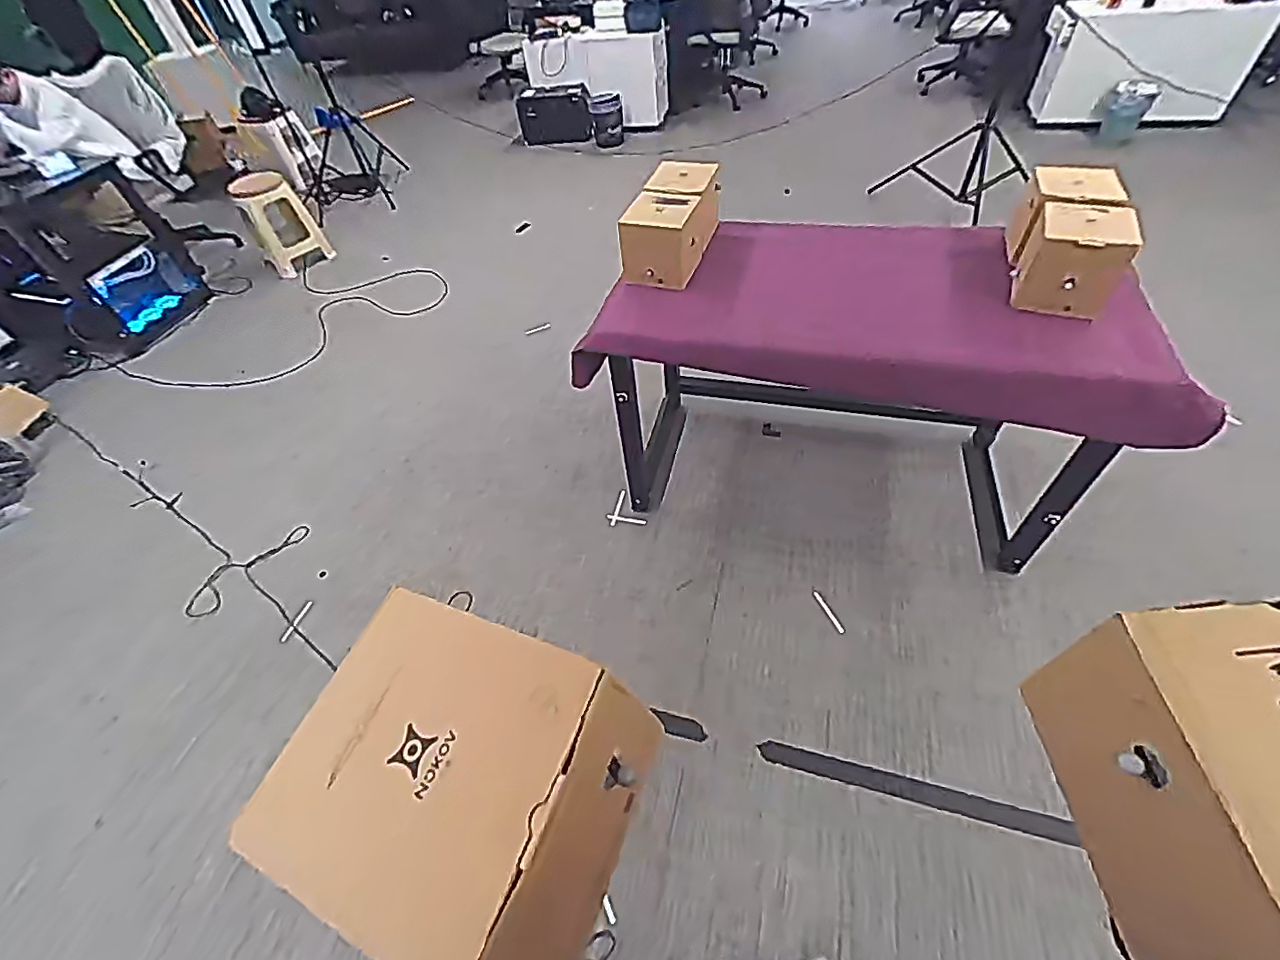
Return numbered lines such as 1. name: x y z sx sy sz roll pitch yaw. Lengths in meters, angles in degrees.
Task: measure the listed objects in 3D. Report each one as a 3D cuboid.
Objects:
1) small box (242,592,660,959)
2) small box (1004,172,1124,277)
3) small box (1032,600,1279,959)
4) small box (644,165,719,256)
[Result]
1. small box: -0.102 0.205 0.374 0.179 0.176 0.168 11 58 24
2. small box: 1.000 -0.612 1.296 0.168 0.176 0.179 12 52 16
3. small box: 0.378 0.183 0.319 0.168 0.176 0.179 -9 54 9
4. small box: 0.119 -0.756 1.514 0.168 0.176 0.179 12 53 16
